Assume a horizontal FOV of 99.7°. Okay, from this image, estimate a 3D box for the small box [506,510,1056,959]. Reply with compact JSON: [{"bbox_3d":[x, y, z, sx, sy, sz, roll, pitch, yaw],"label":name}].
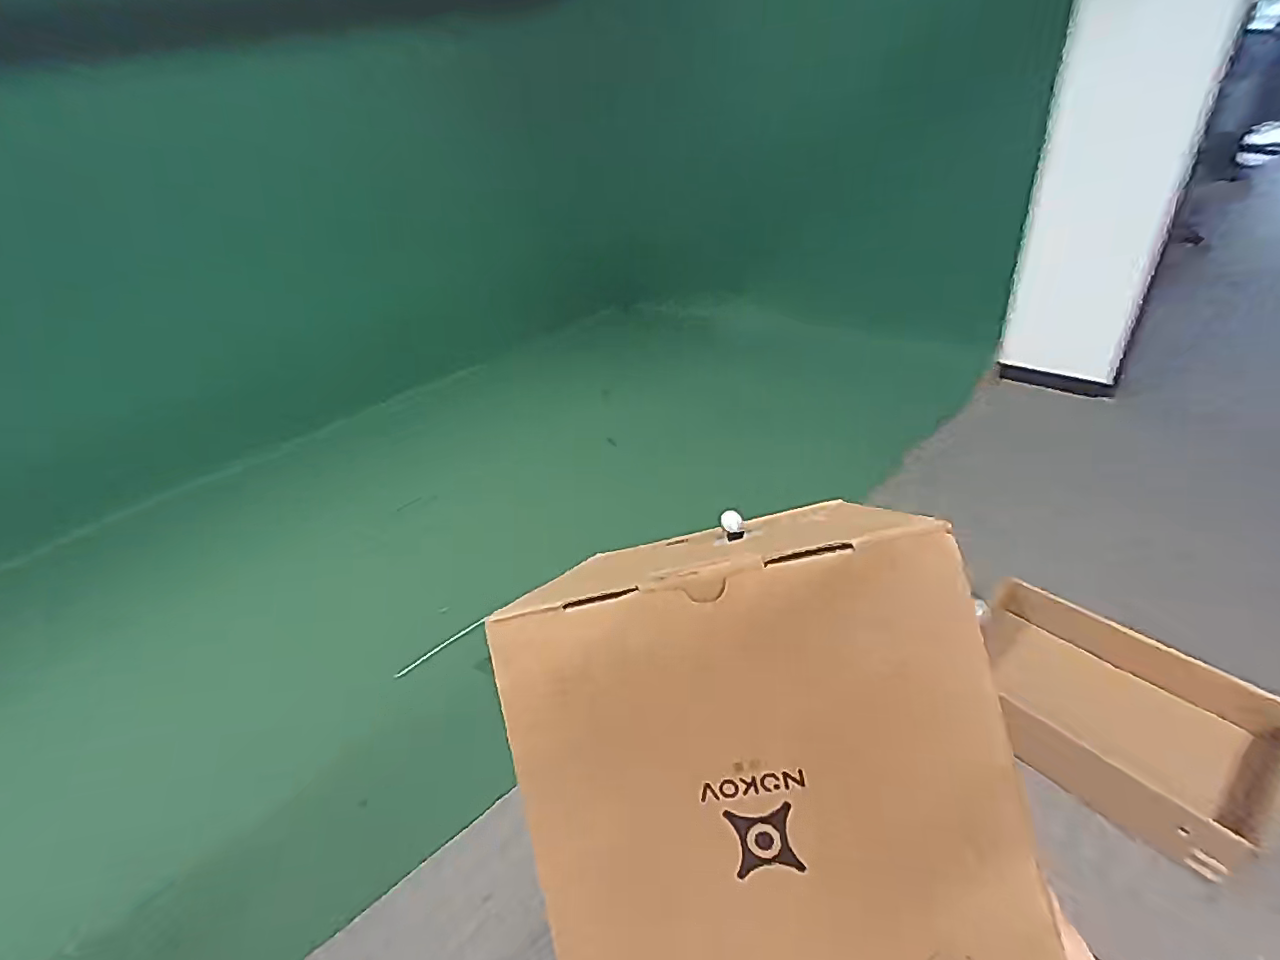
[{"bbox_3d":[0.059,0.118,0.268,0.168,0.179,0.176,-13,-3,10],"label":"small box"}]
